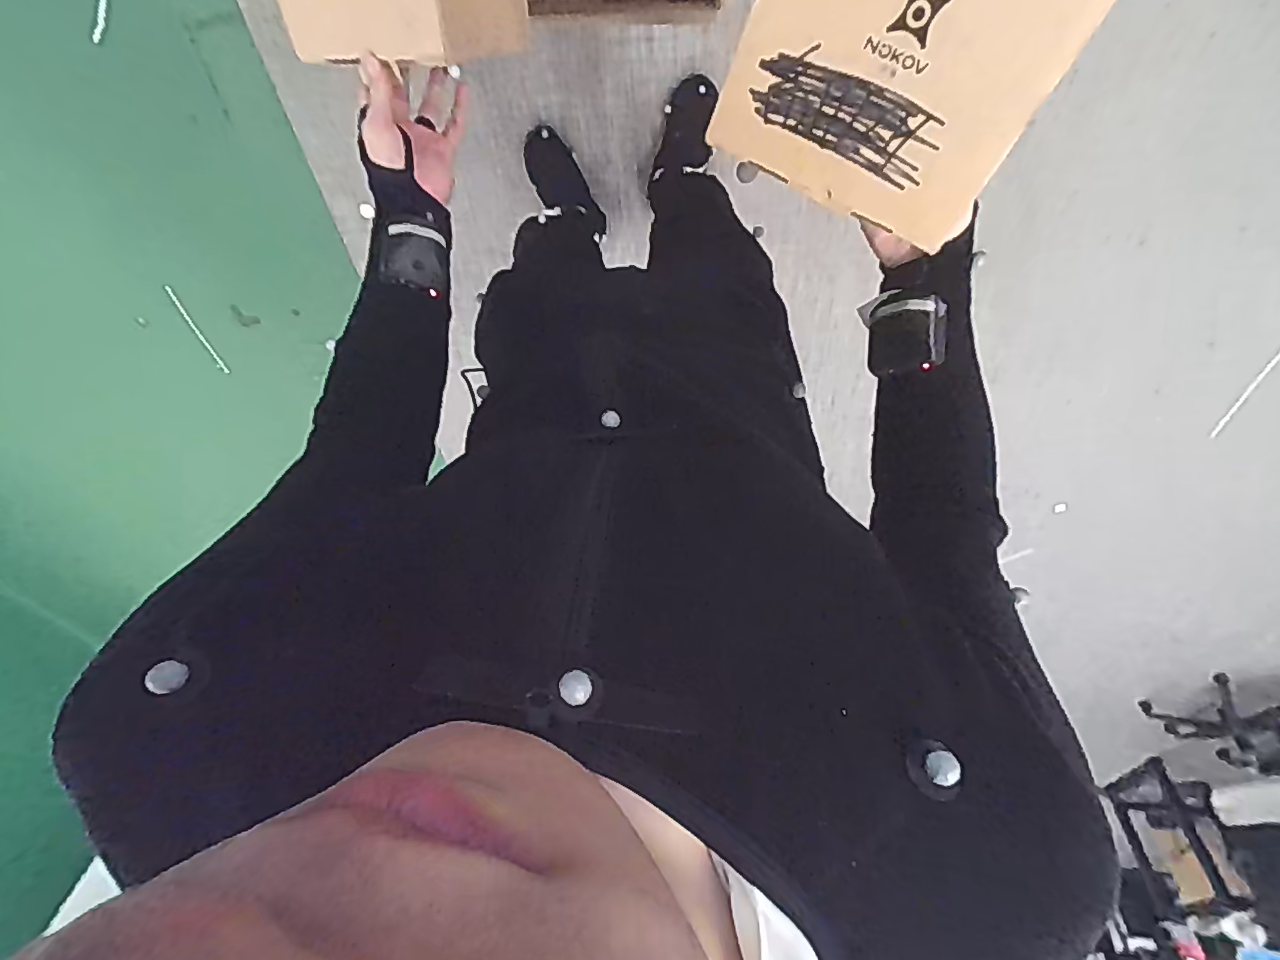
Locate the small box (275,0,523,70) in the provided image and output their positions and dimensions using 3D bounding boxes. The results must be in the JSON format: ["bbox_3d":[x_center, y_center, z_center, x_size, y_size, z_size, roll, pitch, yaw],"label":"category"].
[{"bbox_3d":[-0.222,-0.493,0.493,0.168,0.176,0.179,12,132,13],"label":"small box"}]
